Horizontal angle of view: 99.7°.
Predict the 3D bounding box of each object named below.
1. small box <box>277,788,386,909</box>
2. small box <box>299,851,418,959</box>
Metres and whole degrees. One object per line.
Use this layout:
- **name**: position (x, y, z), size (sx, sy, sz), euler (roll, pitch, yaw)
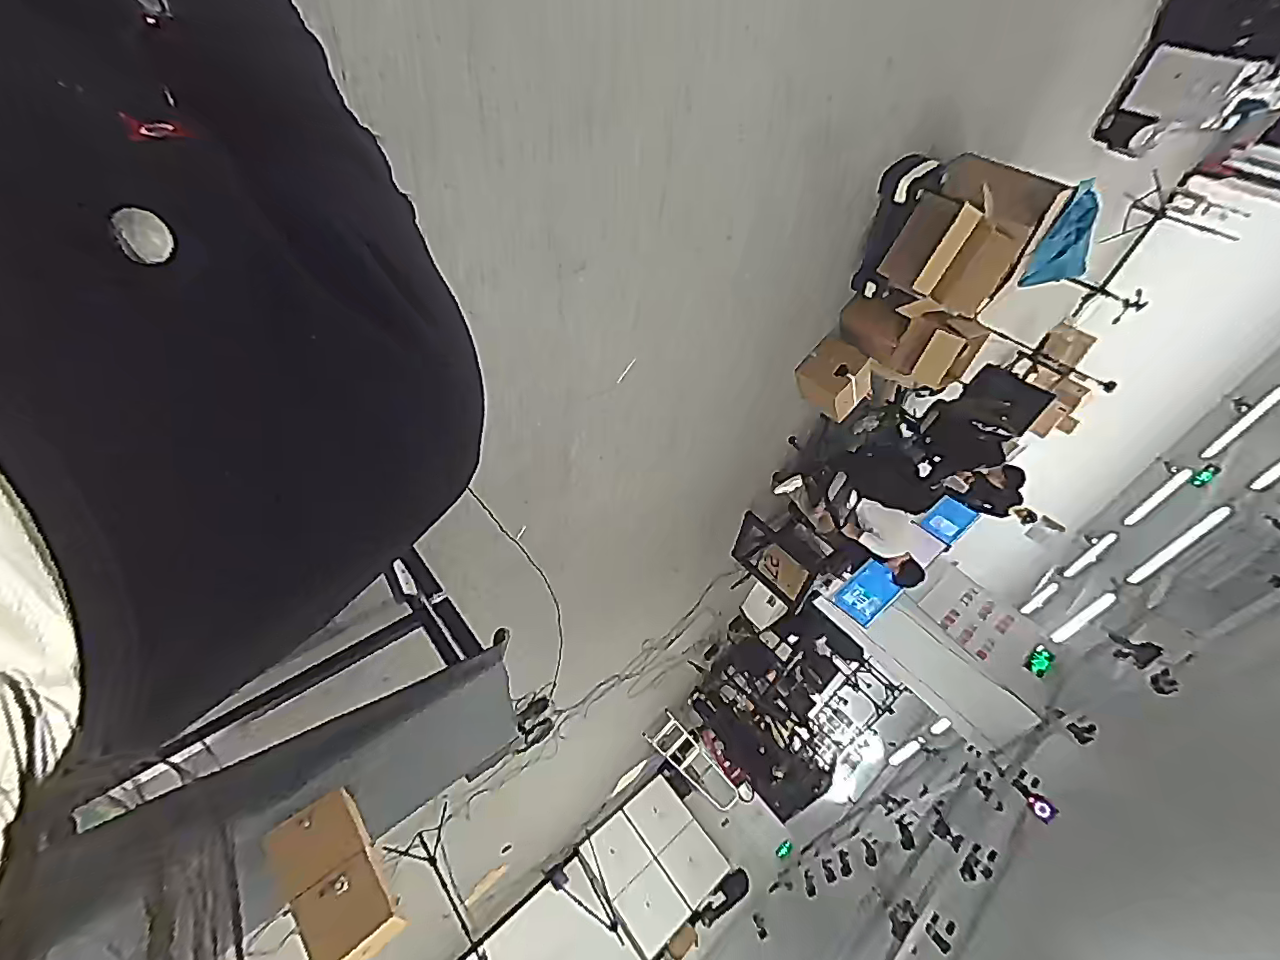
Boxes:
- **small box**: position (-0.746, 0.895, 1.308), size (0.179, 0.176, 0.168), euler (-27, 146, -32)
- **small box**: position (-0.638, 0.991, 1.234), size (0.168, 0.176, 0.179), euler (-31, 146, -32)
